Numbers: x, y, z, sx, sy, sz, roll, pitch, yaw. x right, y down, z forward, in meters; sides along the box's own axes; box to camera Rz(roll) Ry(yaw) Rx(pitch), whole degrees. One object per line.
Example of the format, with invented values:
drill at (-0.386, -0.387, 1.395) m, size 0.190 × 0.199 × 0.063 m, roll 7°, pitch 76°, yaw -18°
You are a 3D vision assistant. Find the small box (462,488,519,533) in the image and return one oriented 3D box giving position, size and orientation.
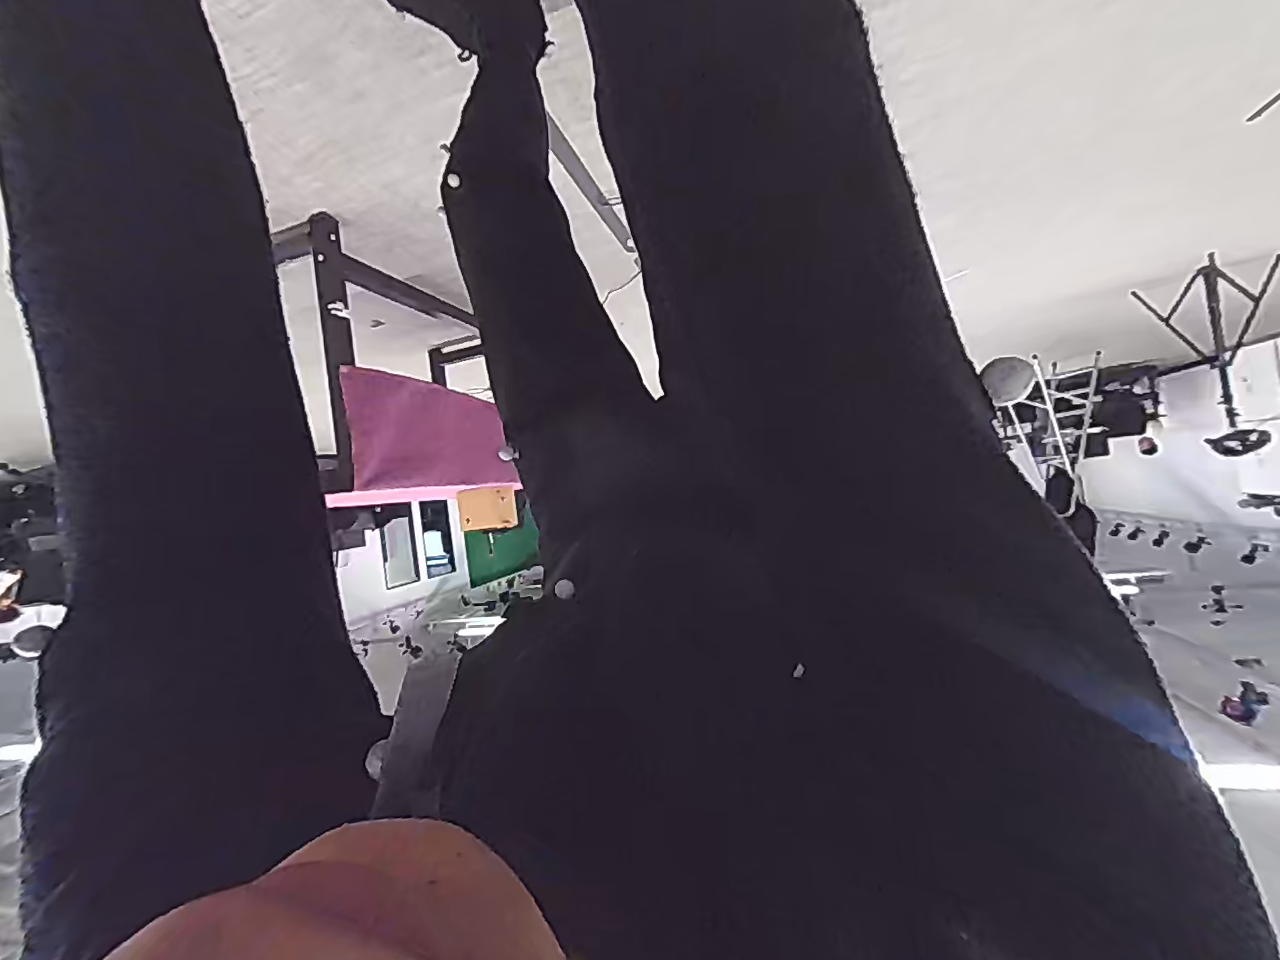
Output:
small box at (-0.637, 0.128, 2.293) m, size 0.179 × 0.176 × 0.168 m, roll -9°, pitch 178°, yaw 25°
